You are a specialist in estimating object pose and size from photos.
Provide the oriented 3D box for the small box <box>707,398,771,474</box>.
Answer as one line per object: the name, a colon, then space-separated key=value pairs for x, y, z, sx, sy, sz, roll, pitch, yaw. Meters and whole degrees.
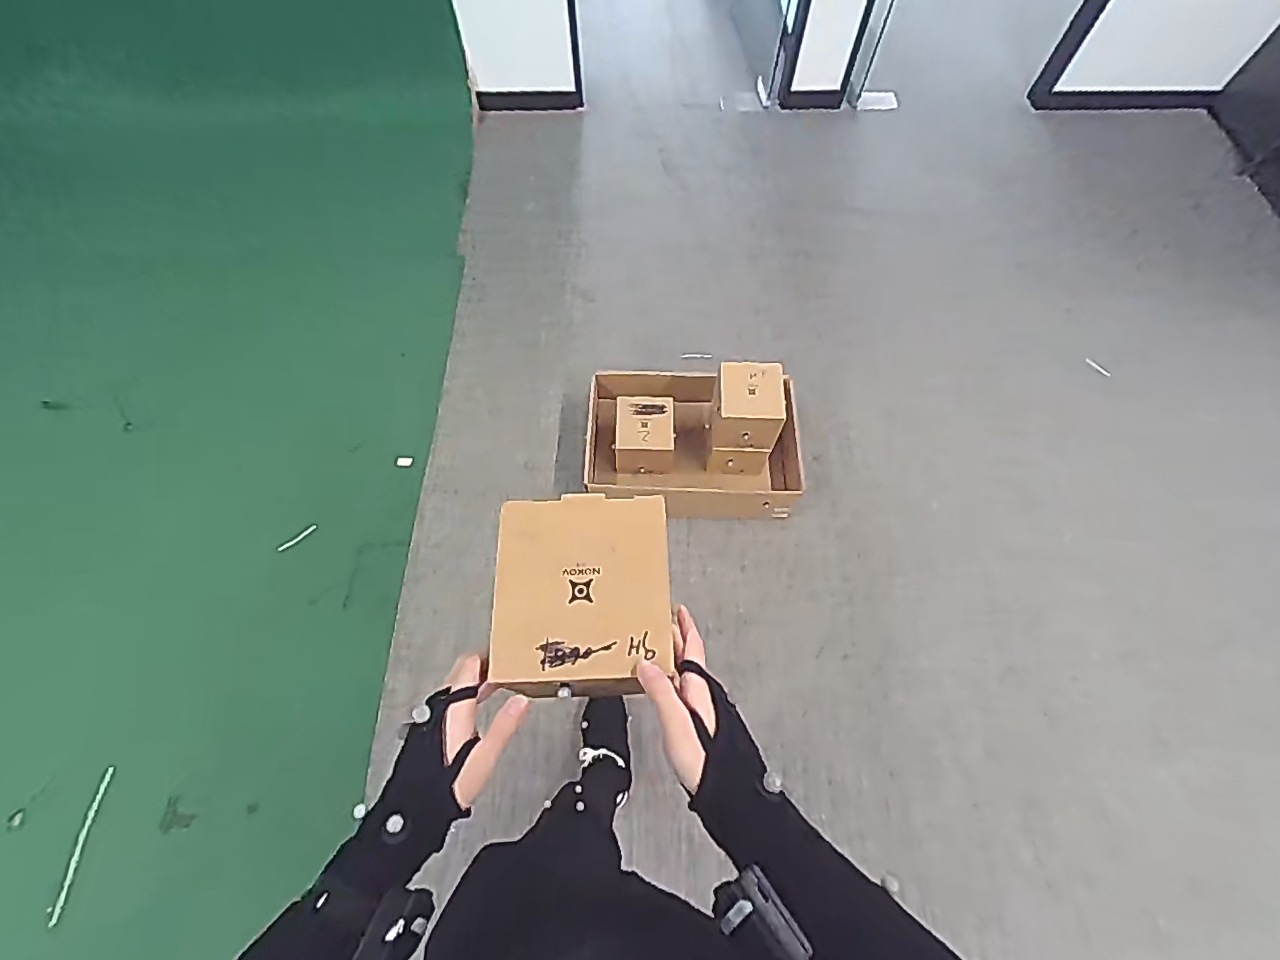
small box: x=0.292 y=-0.128 z=1.622 sx=0.168 sy=0.176 sz=0.179 roll=2 pitch=65 yaw=2

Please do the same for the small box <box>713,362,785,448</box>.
small box: x=0.293 y=-0.199 z=1.473 sx=0.168 sy=0.176 sz=0.179 roll=2 pitch=65 yaw=1

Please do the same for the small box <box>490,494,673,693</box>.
small box: x=-0.052 y=0.128 z=0.586 sx=0.168 sy=0.176 sz=0.179 roll=-2 pitch=64 yaw=1
